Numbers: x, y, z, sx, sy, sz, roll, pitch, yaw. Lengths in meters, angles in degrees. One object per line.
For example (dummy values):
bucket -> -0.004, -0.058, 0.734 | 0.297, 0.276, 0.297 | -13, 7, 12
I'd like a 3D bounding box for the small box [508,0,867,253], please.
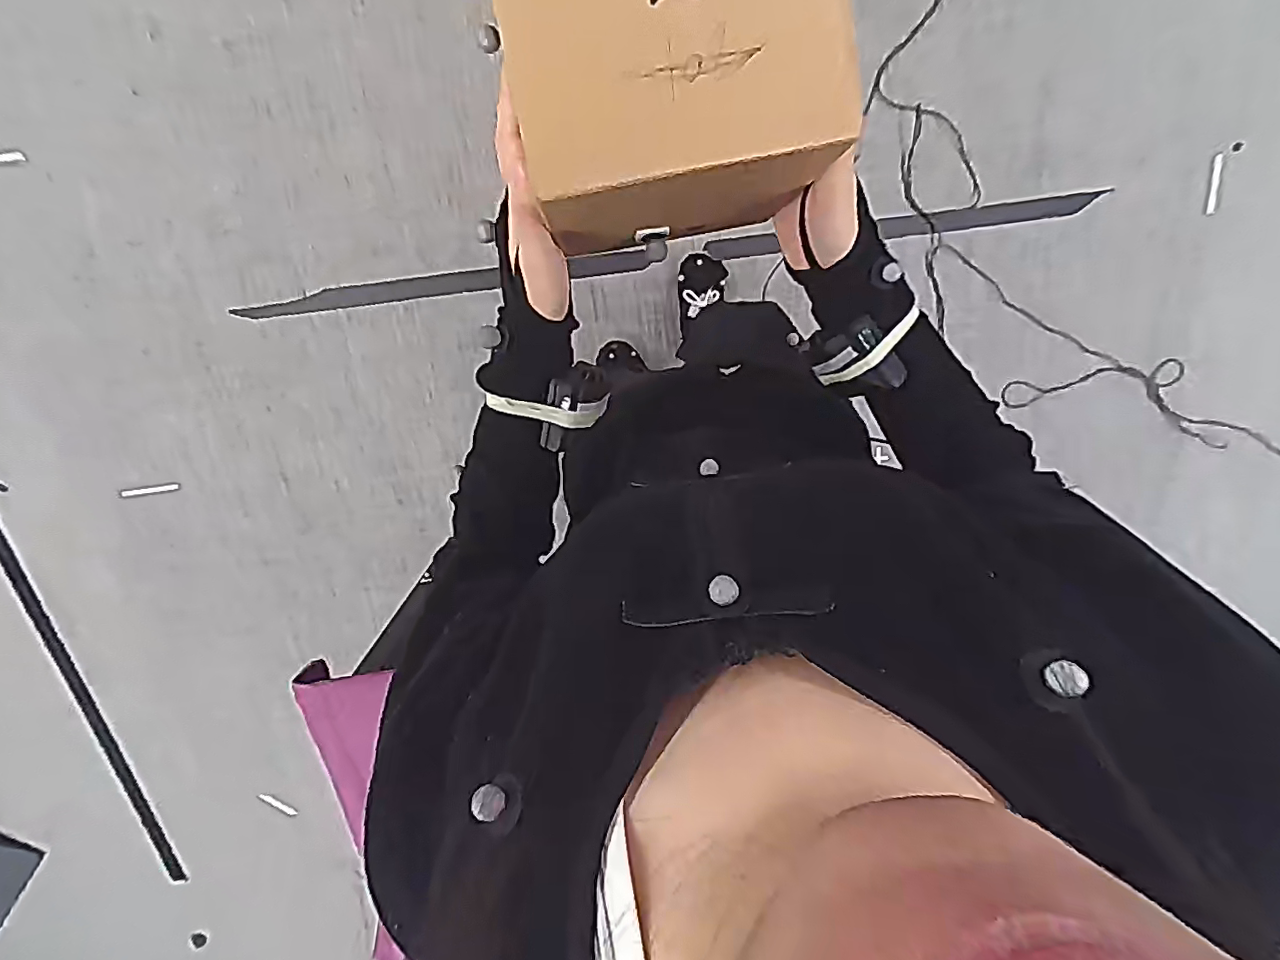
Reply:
small box -> 0.012, -0.255, 0.325 | 0.168, 0.176, 0.179 | -12, 104, -1
